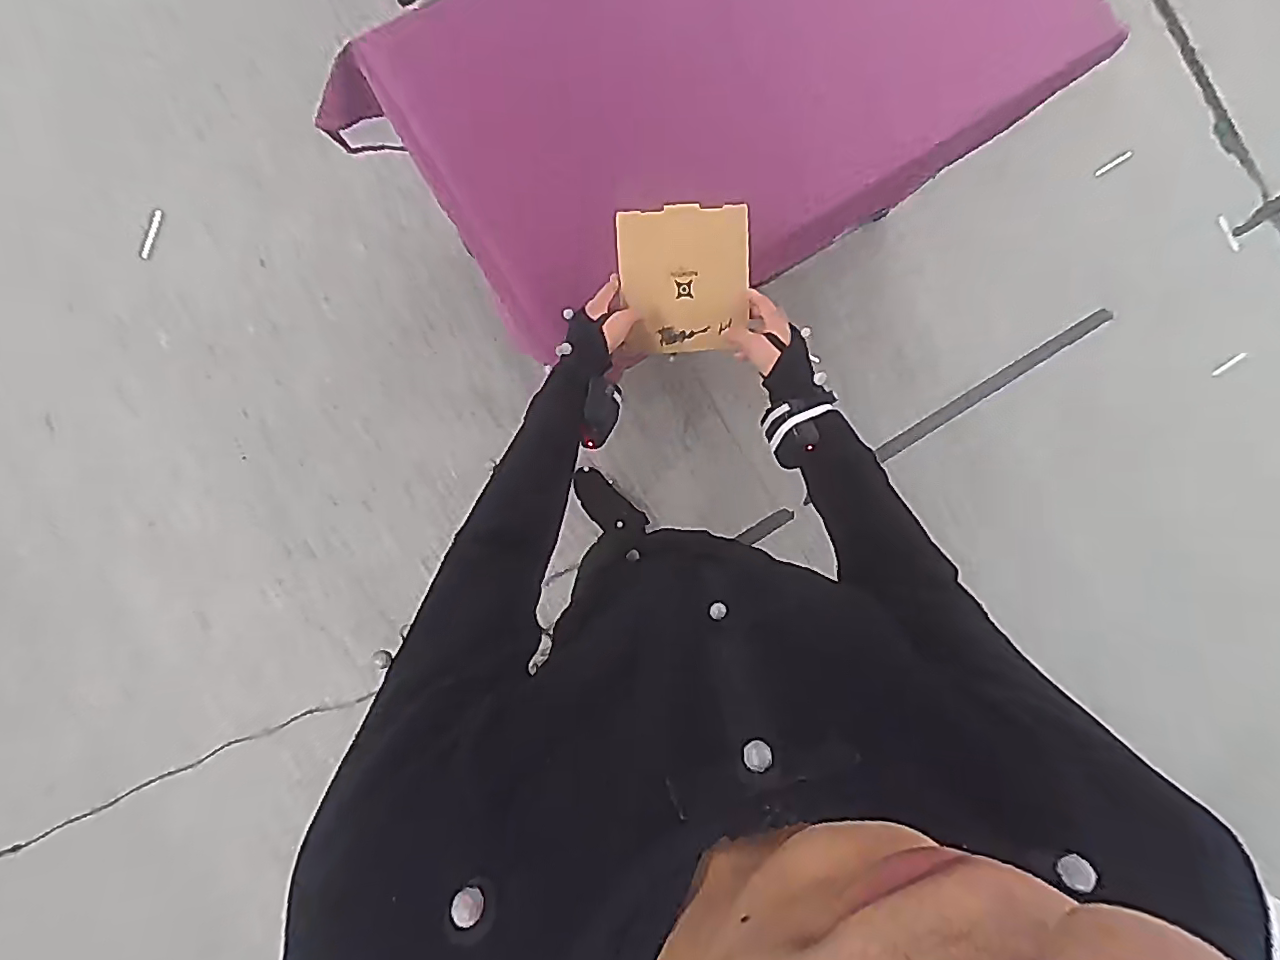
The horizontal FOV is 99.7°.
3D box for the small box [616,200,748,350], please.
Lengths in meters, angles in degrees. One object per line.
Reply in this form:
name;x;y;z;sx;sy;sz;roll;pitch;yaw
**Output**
small box;0.053;-0.277;0.764;0.168;0.176;0.179;-4;105;-1
